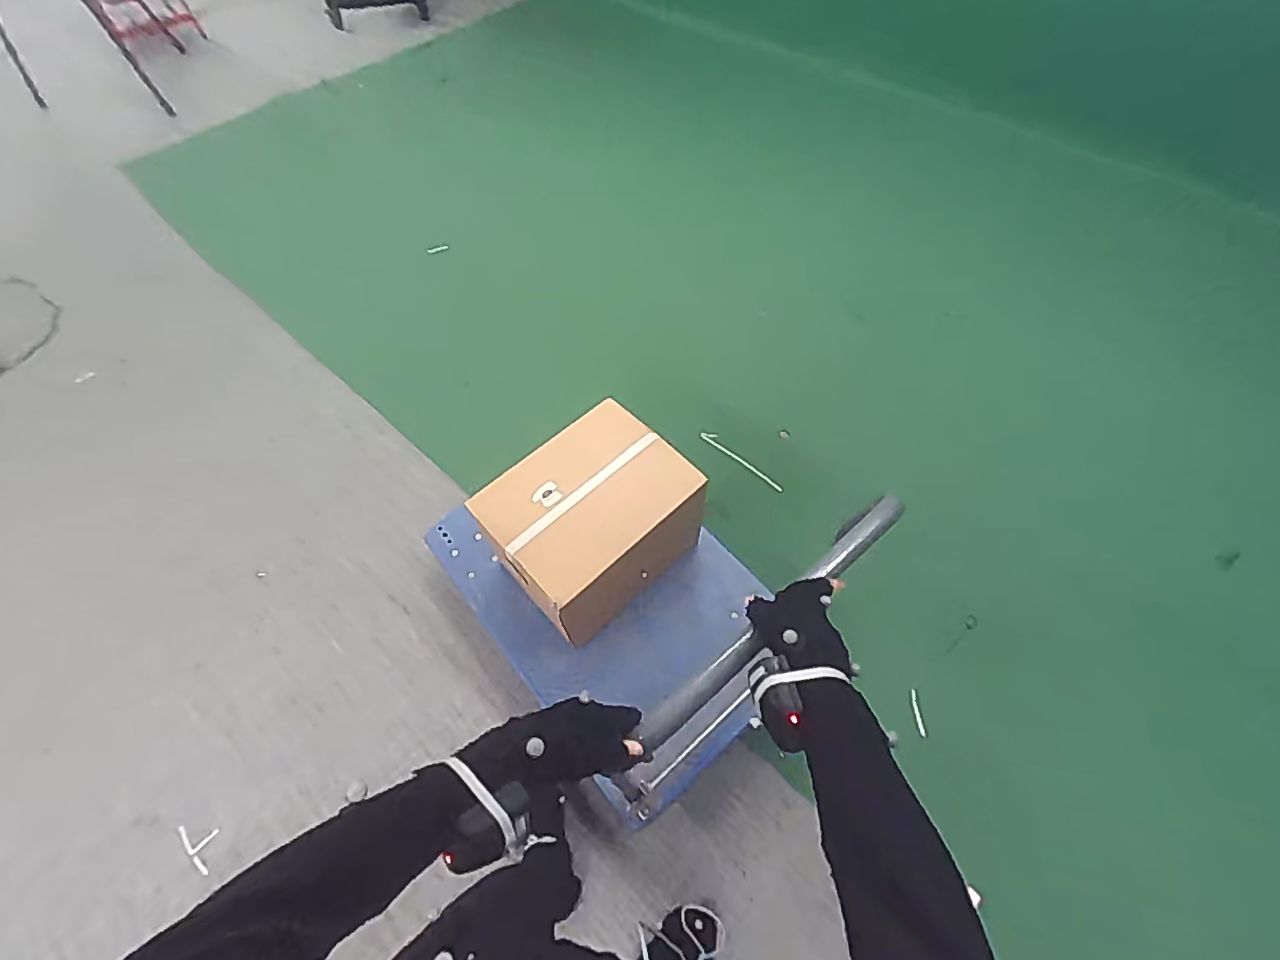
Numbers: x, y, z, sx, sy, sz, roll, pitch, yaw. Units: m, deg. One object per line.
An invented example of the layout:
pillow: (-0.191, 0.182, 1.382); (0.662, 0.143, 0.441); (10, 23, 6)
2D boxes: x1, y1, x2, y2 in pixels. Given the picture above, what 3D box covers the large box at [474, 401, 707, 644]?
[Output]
large box: (-0.098, 0.102, 1.253); (0.408, 0.320, 0.320); (-40, 66, -20)
